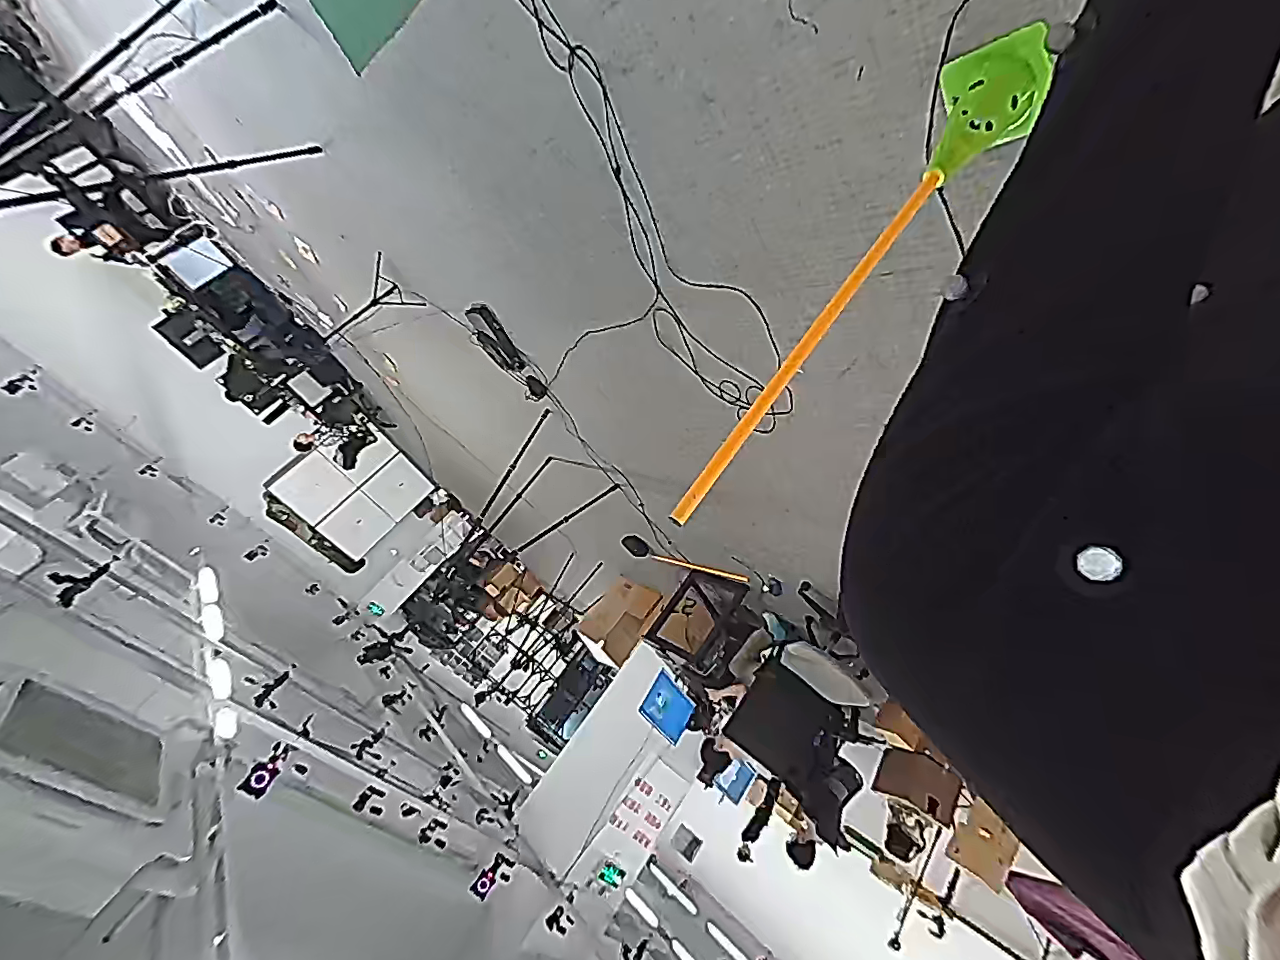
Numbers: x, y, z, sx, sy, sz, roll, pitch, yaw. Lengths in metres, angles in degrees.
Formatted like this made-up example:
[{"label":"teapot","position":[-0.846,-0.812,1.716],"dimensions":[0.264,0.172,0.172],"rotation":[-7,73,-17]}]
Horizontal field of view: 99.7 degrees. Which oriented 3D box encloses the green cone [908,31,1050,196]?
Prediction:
[{"label":"green cone","position":[0.648,-0.695,1.101],"dimensions":[0.202,0.368,0.200],"rotation":[10,143,53]}]
